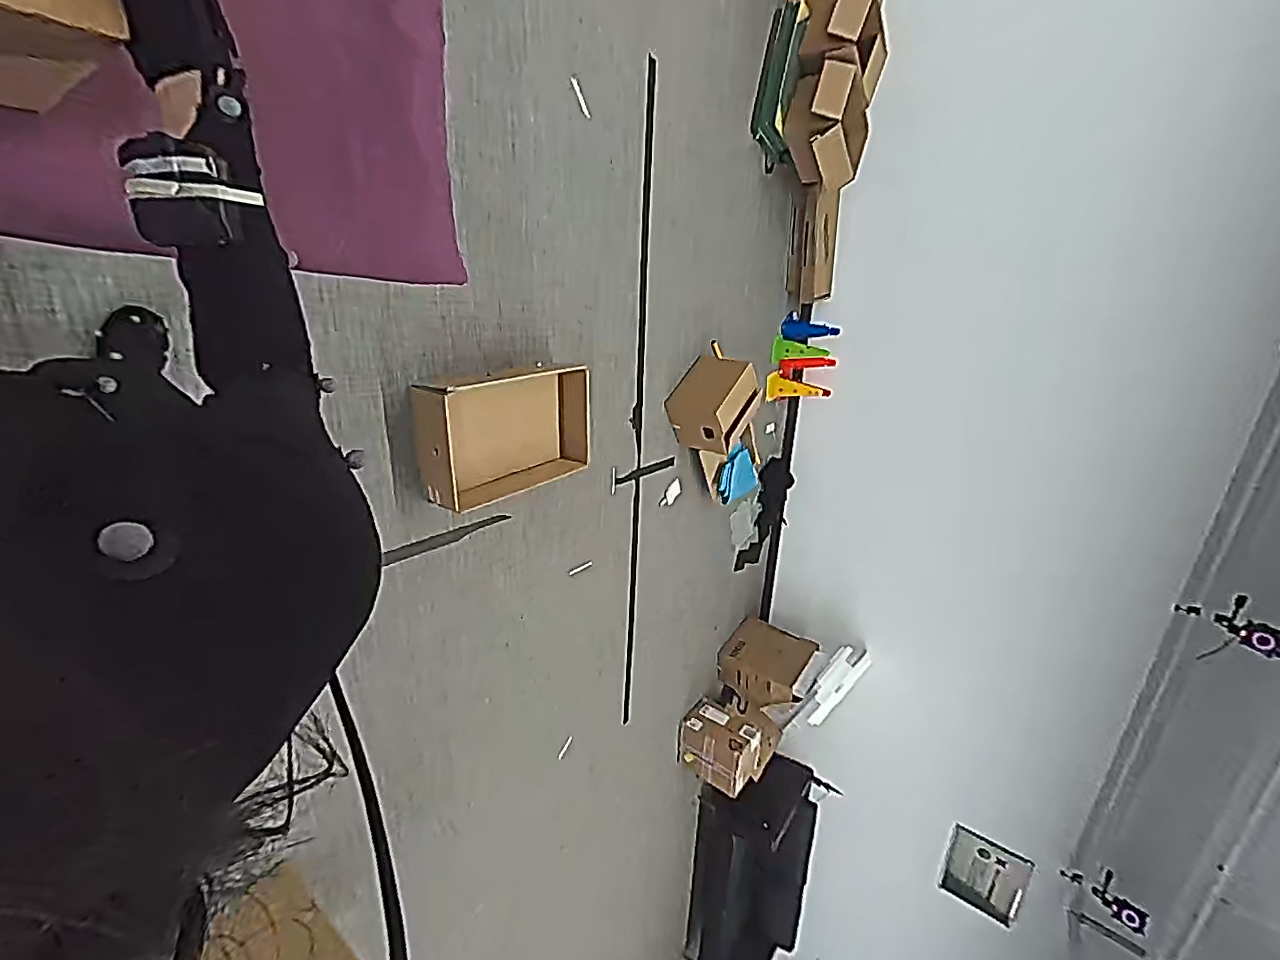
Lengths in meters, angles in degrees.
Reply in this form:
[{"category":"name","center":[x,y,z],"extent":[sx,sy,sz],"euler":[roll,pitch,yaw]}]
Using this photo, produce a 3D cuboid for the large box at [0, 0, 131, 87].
[{"category":"large box","center":[-0.558,-0.422,0.225],"extent":[0.408,0.320,0.320],"euler":[-23,124,-51]}]
